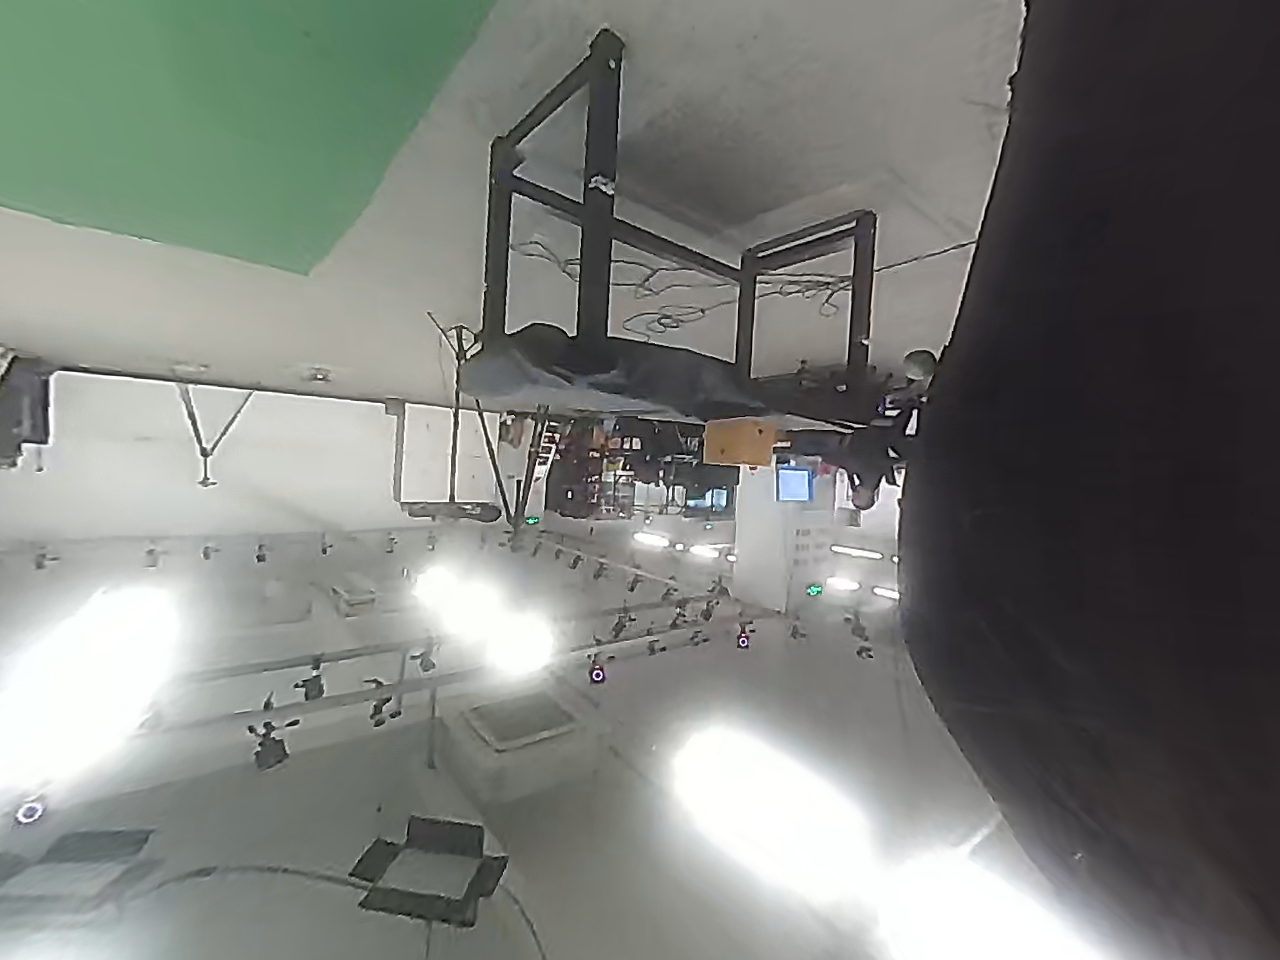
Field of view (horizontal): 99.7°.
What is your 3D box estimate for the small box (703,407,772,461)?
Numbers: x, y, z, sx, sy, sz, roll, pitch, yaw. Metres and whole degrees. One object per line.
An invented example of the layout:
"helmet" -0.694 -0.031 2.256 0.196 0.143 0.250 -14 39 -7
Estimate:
"small box" 0.342 -0.158 1.878 0.168 0.176 0.179 2 -178 -37
